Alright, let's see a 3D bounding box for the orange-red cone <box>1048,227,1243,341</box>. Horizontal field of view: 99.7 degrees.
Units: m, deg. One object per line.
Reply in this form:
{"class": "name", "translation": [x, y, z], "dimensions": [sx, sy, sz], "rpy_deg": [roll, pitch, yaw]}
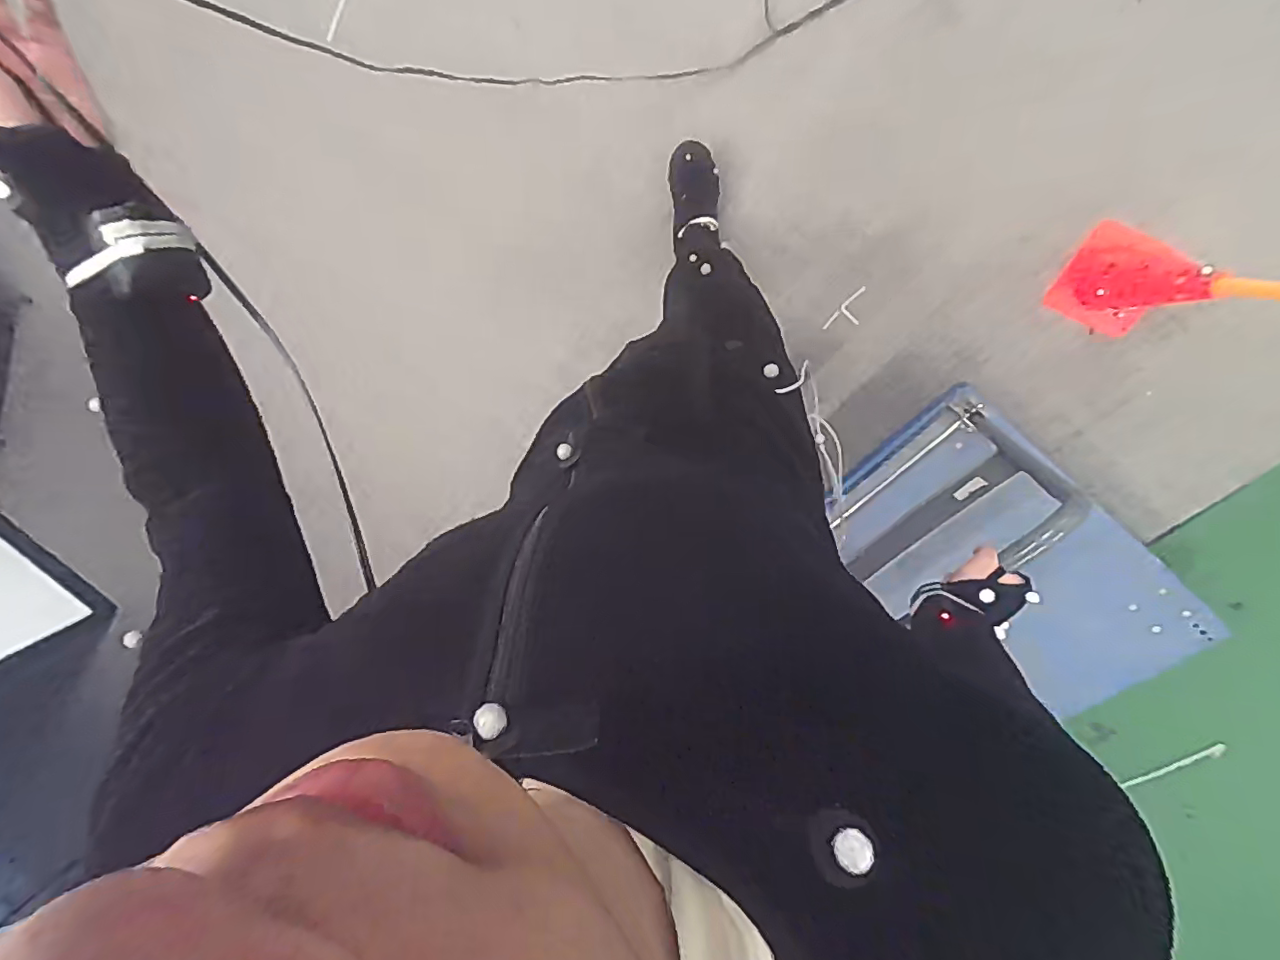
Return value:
{"class": "orange-red cone", "translation": [1.026, -0.380, 1.061], "dimensions": [0.198, 0.360, 0.199], "rpy_deg": [29, 114, 2]}
